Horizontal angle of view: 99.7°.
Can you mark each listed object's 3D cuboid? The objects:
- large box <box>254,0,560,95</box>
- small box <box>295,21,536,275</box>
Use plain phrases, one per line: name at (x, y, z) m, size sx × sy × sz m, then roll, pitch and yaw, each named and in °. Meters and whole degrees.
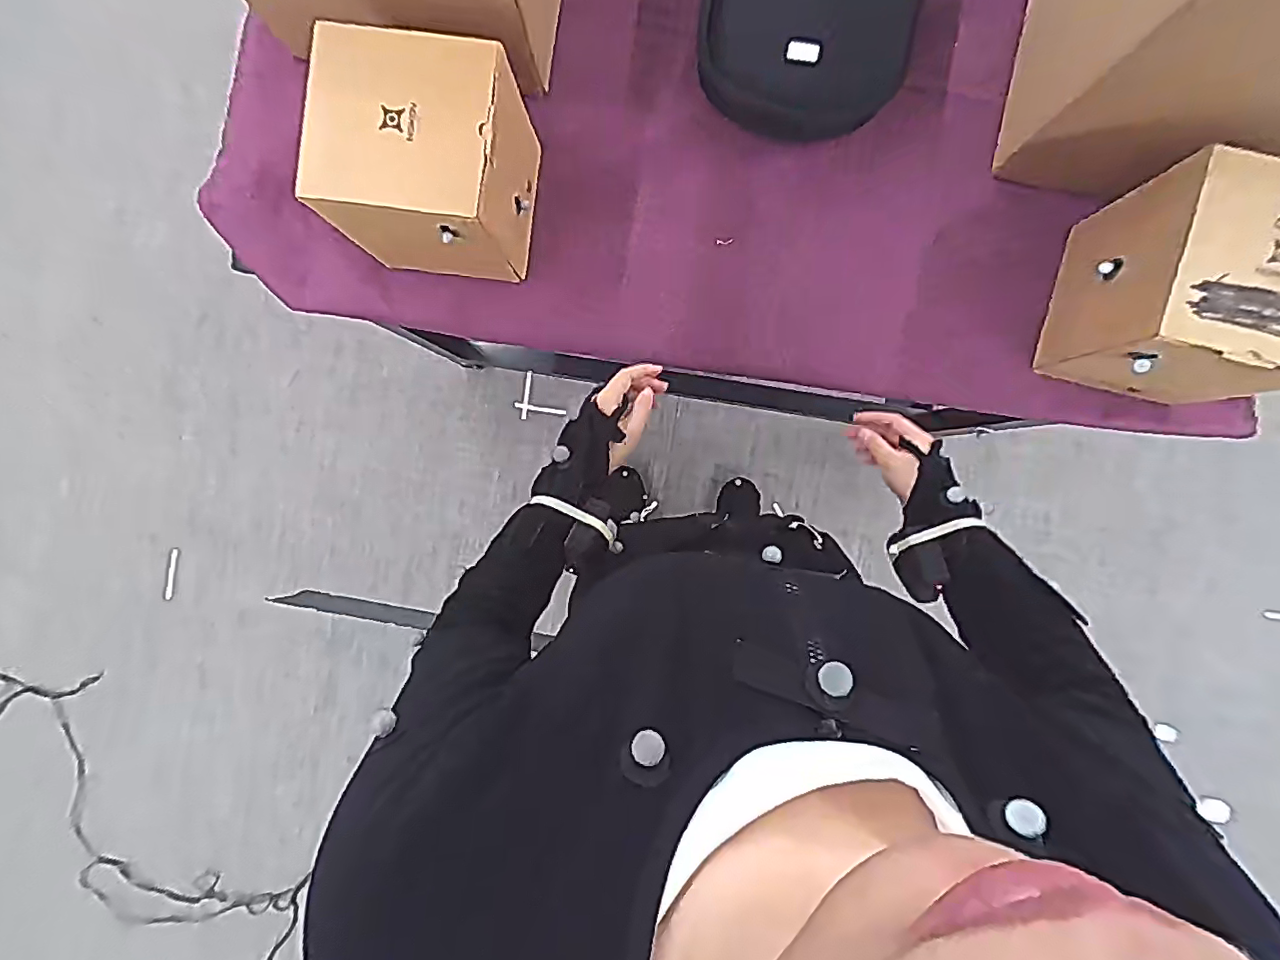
large box at (-0.234, -0.674, 0.497) m, size 0.320 × 0.320 × 0.408 m, roll 8°, pitch 94°, yaw 1°
small box at (-0.223, -0.335, 0.578) m, size 0.179 × 0.176 × 0.168 m, roll 6°, pitch 91°, yaw 1°
